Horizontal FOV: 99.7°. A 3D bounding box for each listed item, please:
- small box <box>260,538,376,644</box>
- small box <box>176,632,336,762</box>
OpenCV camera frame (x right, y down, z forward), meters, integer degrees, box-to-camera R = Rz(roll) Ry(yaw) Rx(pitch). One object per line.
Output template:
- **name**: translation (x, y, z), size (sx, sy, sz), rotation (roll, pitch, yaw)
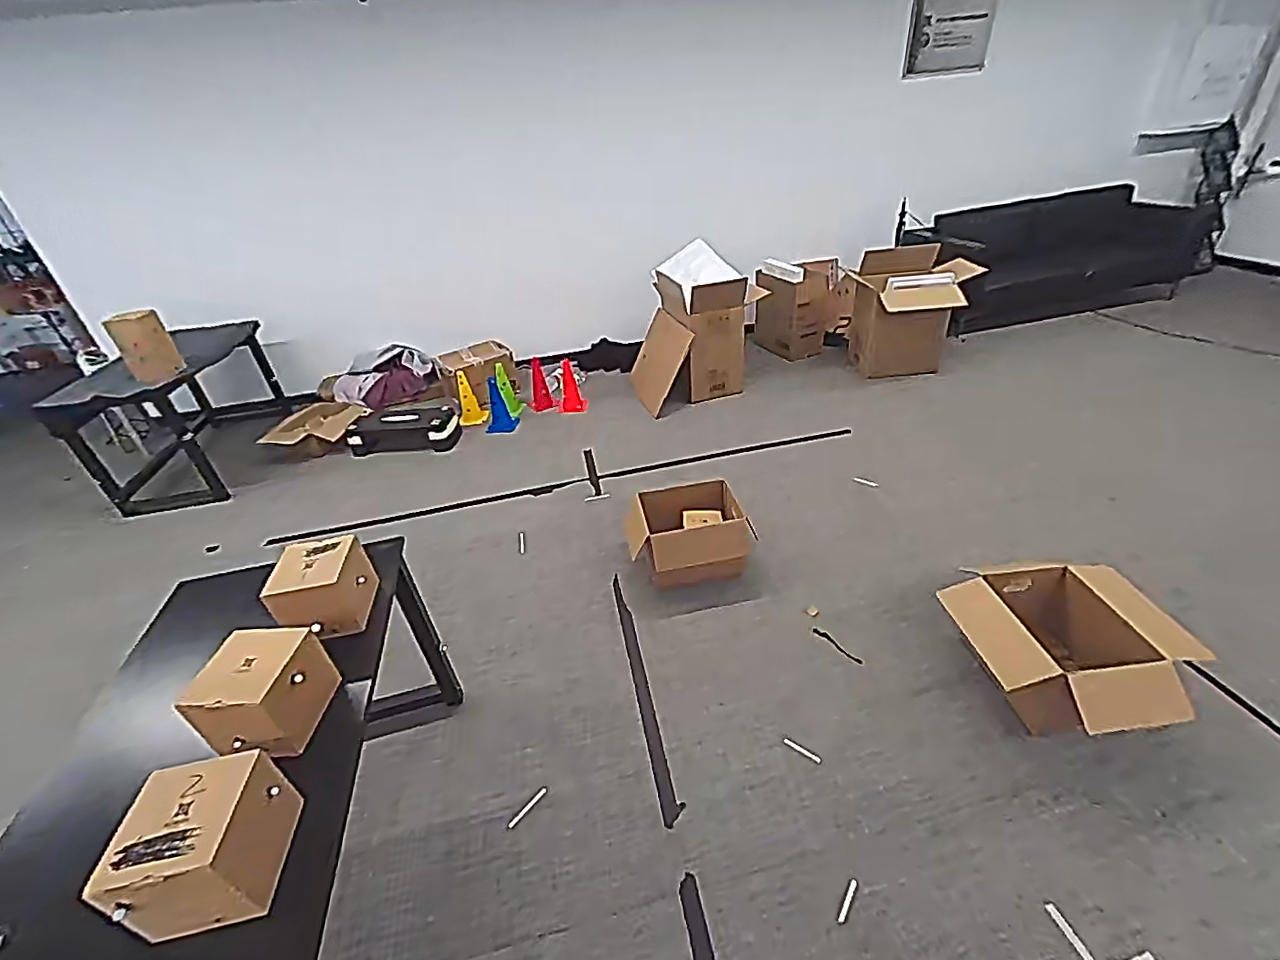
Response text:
- **small box**: translation (-0.758, 0.270, 1.298), size (0.168, 0.176, 0.179), rotation (-11, 35, -5)
- **small box**: translation (-0.735, 0.425, 1.066), size (0.168, 0.176, 0.179), rotation (-5, 34, 4)
